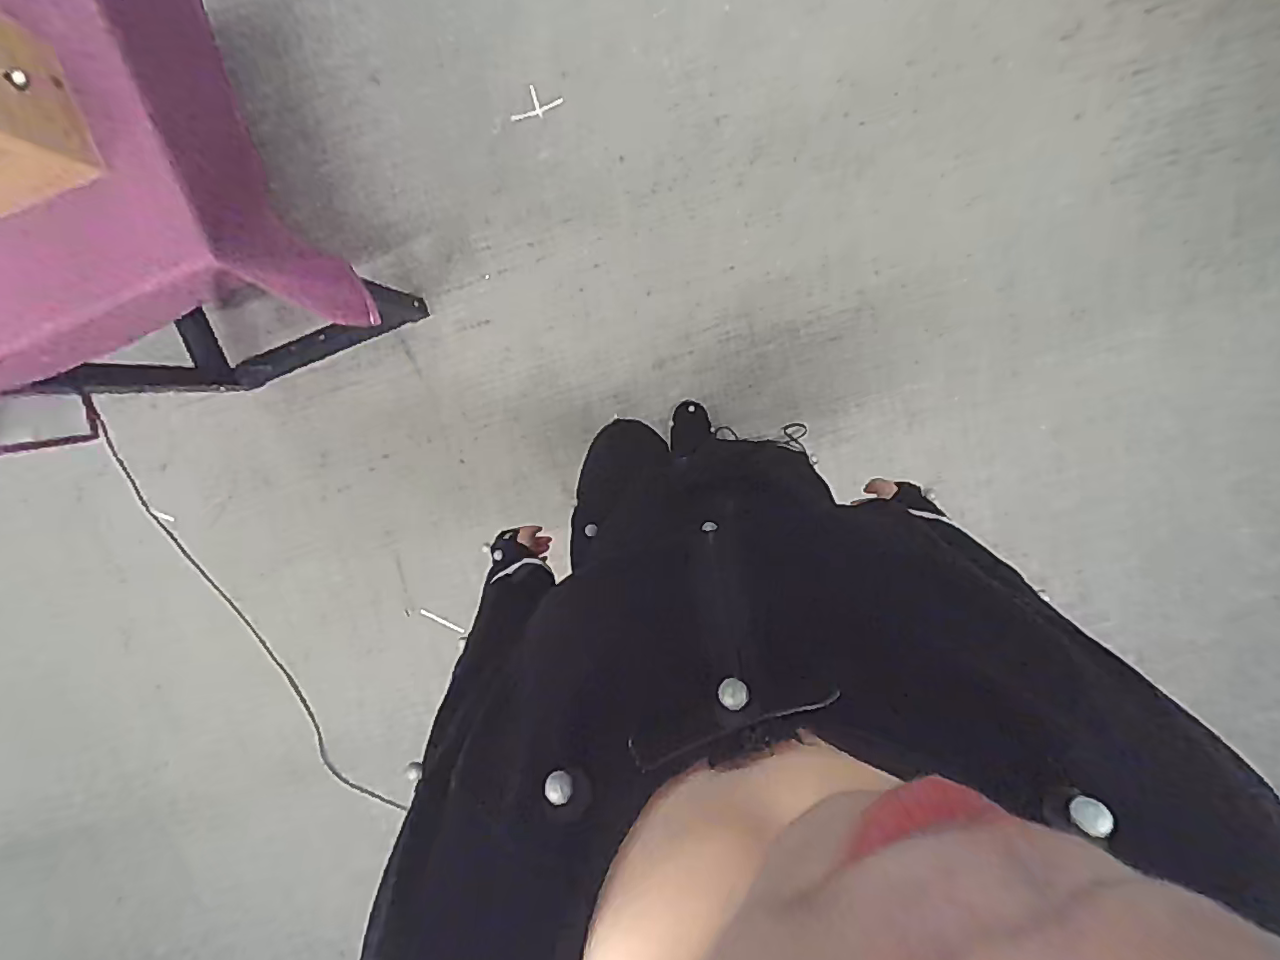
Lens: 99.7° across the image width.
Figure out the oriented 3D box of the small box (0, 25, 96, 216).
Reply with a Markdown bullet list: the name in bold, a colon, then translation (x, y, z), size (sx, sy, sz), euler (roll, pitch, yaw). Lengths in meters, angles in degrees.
- **small box**: translation (-0.813, -0.442, 0.639), size (0.179, 0.176, 0.168), euler (-16, 98, 7)
